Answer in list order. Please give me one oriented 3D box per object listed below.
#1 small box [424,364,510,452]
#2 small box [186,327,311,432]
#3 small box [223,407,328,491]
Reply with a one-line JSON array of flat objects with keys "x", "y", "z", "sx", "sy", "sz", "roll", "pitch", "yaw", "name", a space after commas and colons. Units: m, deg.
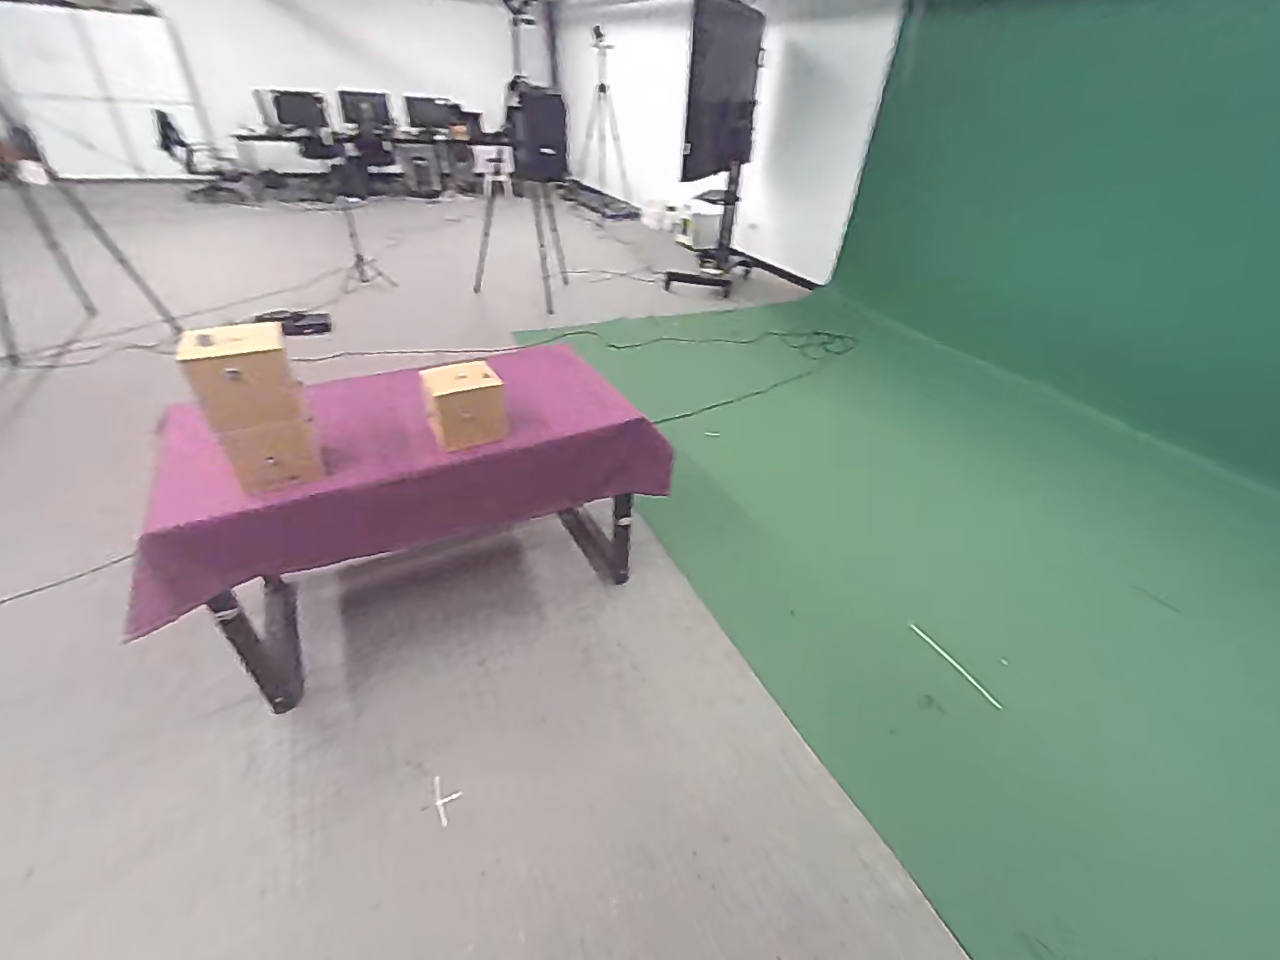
[{"x": -0.466, "y": -0.194, "z": 1.470, "sx": 0.179, "sy": 0.176, "sz": 0.168, "roll": -17, "pitch": 41, "yaw": -25, "name": "small box"}, {"x": -0.853, "y": -0.221, "z": 1.191, "sx": 0.179, "sy": 0.176, "sz": 0.168, "roll": -15, "pitch": 40, "yaw": -26, "name": "small box"}, {"x": -0.861, "y": -0.088, "z": 1.287, "sx": 0.168, "sy": 0.176, "sz": 0.179, "roll": -15, "pitch": 40, "yaw": -26, "name": "small box"}]
